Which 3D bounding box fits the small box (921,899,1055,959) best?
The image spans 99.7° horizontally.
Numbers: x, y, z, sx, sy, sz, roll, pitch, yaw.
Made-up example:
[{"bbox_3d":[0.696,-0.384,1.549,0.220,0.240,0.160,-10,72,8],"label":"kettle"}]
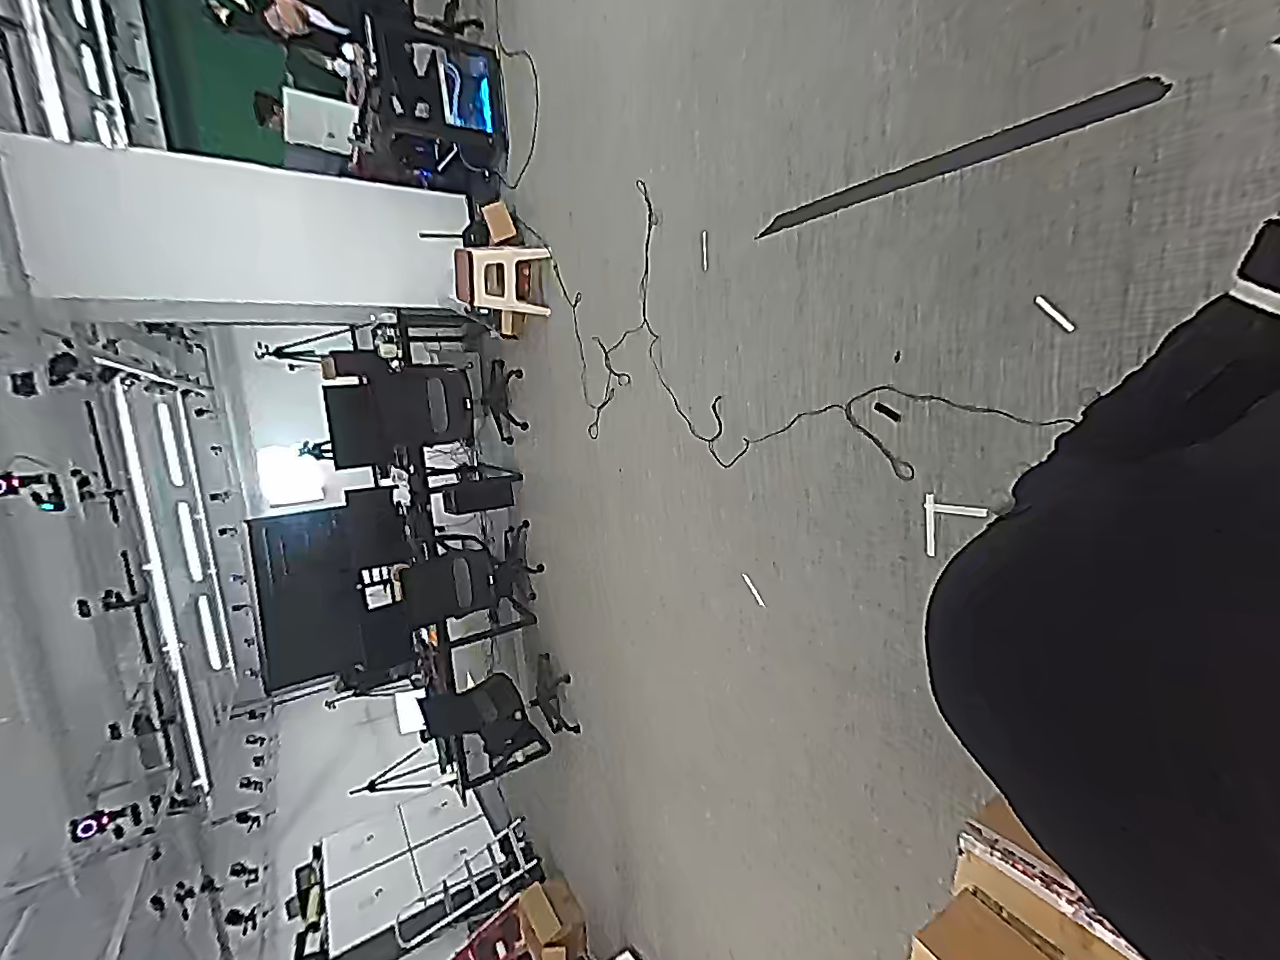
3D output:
[{"bbox_3d":[0.604,0.878,0.921,0.179,0.176,0.168,24,117,56],"label":"small box"}]
